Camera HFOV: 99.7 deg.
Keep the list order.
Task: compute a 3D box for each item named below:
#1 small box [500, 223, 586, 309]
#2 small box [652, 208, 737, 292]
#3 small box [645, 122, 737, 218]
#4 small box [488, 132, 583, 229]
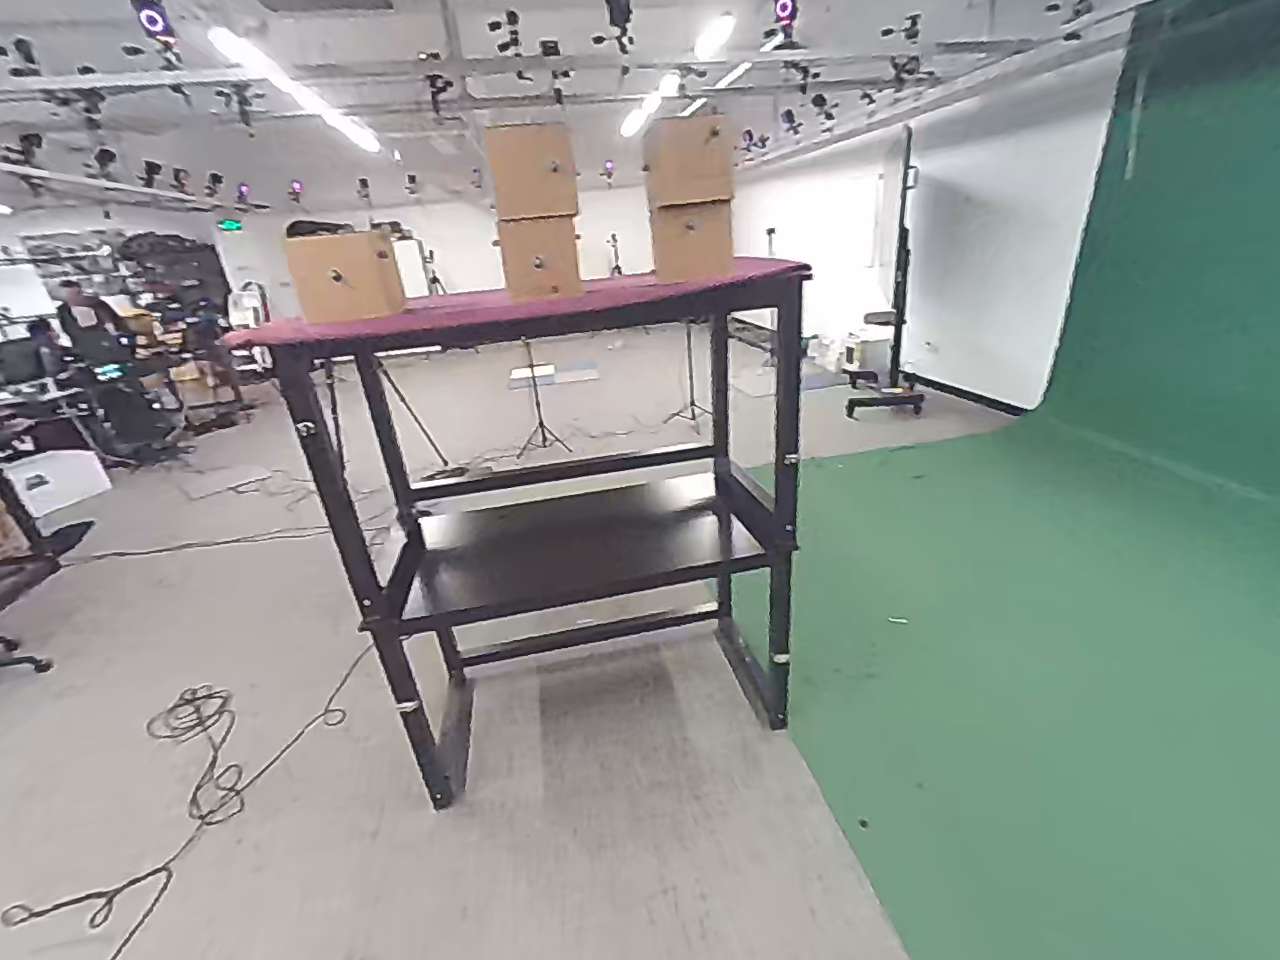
[{"bbox_3d":[-0.217,-0.490,1.243,0.168,0.176,0.179,-7,23,-6],"label":"small box"},{"bbox_3d":[0.132,-0.556,1.319,0.179,0.176,0.168,-7,22,-3],"label":"small box"},{"bbox_3d":[0.116,-0.700,1.244,0.179,0.176,0.168,-9,22,-6],"label":"small box"},{"bbox_3d":[-0.218,-0.635,1.169,0.179,0.176,0.168,-8,23,-6],"label":"small box"}]
